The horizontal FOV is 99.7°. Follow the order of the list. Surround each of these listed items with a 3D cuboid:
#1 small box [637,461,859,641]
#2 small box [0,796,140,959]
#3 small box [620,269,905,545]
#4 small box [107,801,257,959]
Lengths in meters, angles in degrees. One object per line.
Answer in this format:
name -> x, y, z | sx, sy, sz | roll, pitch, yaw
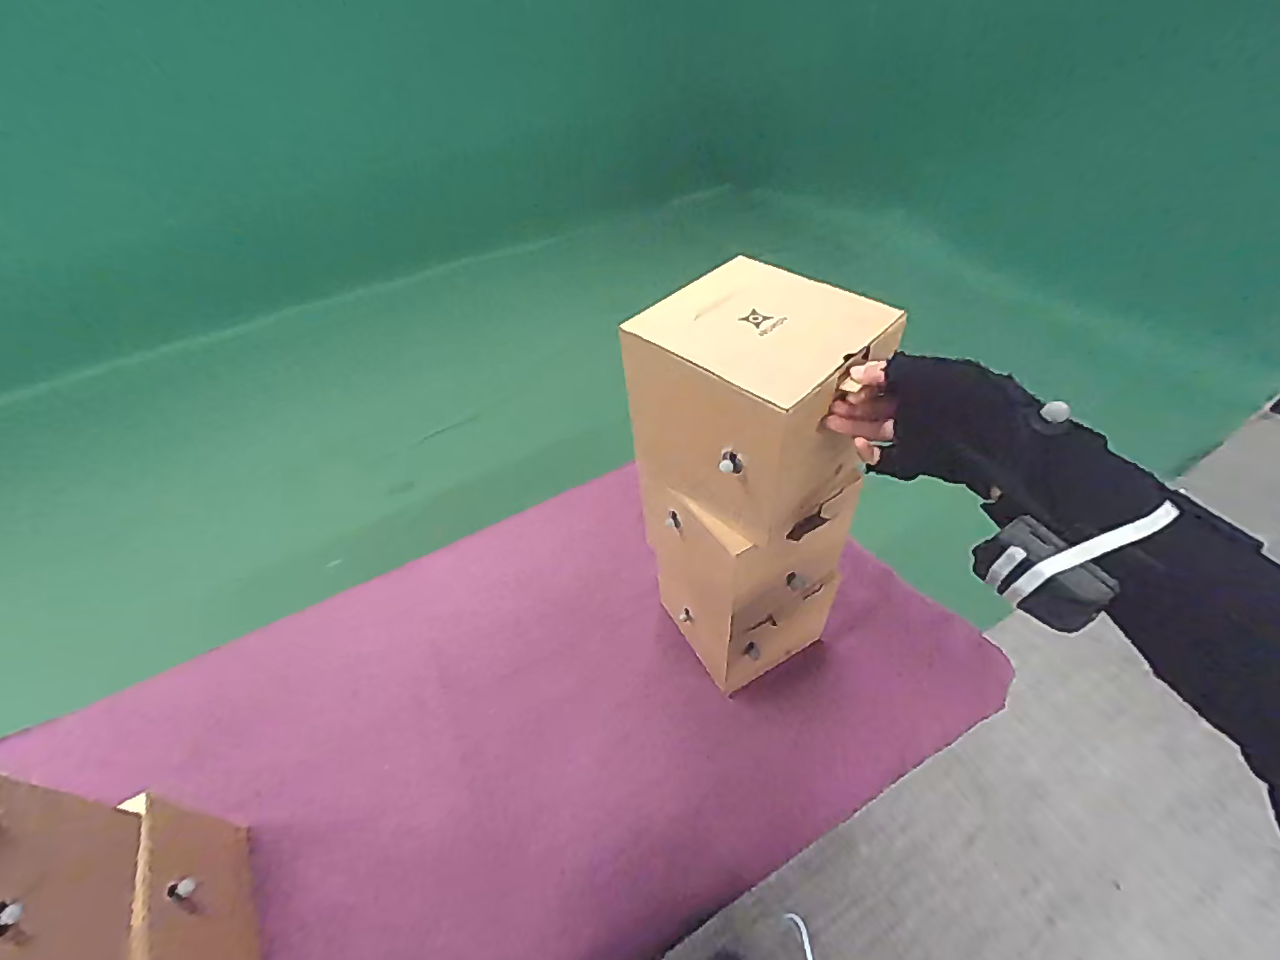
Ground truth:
small box -> 0.113, 0.049, 0.624 | 0.168, 0.176, 0.179 | -28, 51, -18
small box -> -0.526, 0.370, 0.400 | 0.168, 0.176, 0.179 | -22, 50, -15
small box -> 0.105, -0.064, 0.505 | 0.168, 0.176, 0.179 | -37, 54, -25
small box -> -0.516, 0.465, 0.534 | 0.168, 0.176, 0.179 | -26, 52, -18
